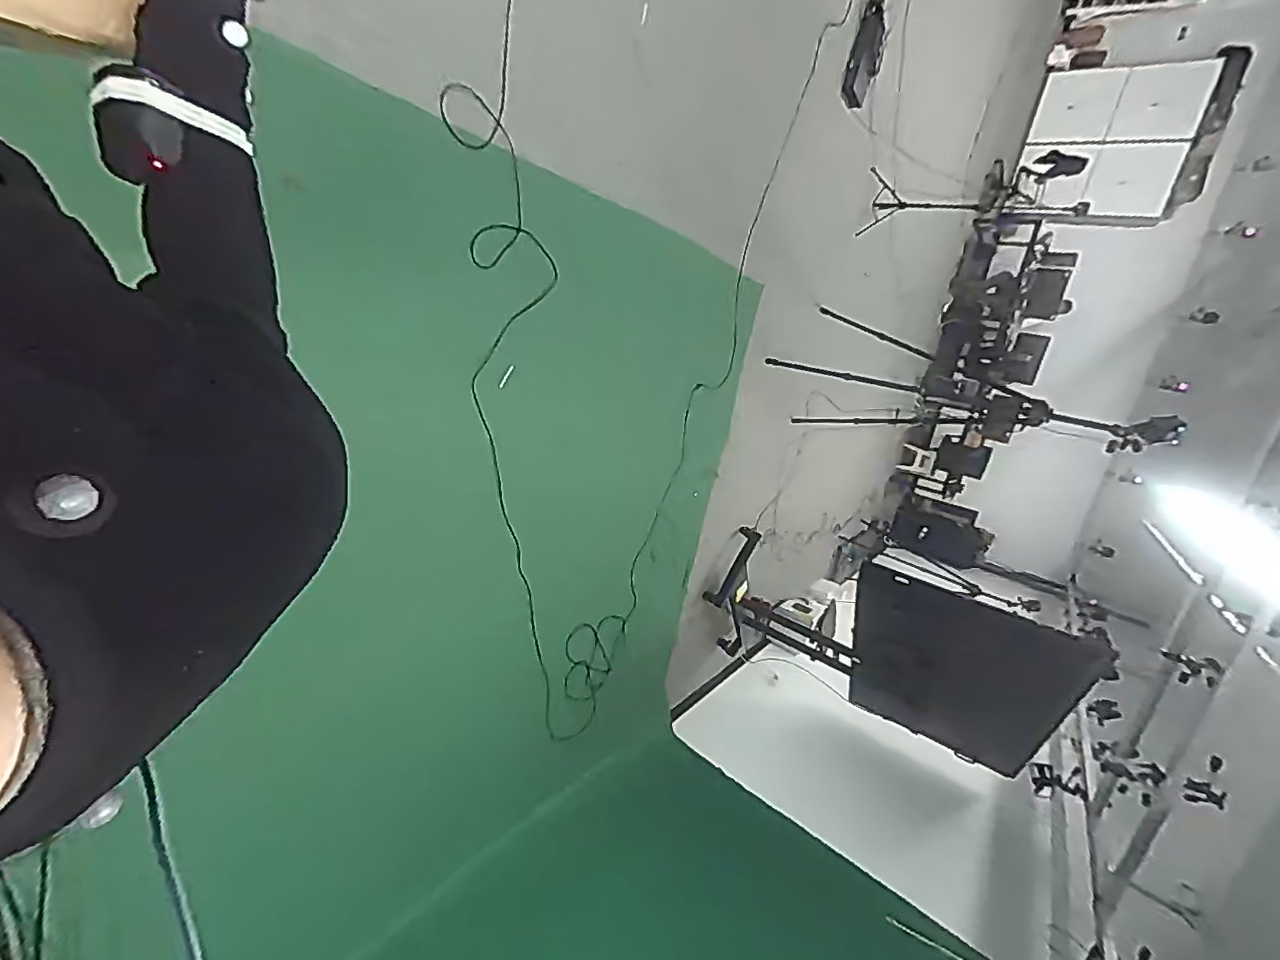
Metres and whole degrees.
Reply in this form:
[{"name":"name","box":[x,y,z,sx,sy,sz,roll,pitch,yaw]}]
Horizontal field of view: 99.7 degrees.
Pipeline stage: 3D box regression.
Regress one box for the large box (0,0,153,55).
[{"name":"large box","box":[-0.584,-0.477,0.276,0.408,0.320,0.320,-23,131,-53]}]
